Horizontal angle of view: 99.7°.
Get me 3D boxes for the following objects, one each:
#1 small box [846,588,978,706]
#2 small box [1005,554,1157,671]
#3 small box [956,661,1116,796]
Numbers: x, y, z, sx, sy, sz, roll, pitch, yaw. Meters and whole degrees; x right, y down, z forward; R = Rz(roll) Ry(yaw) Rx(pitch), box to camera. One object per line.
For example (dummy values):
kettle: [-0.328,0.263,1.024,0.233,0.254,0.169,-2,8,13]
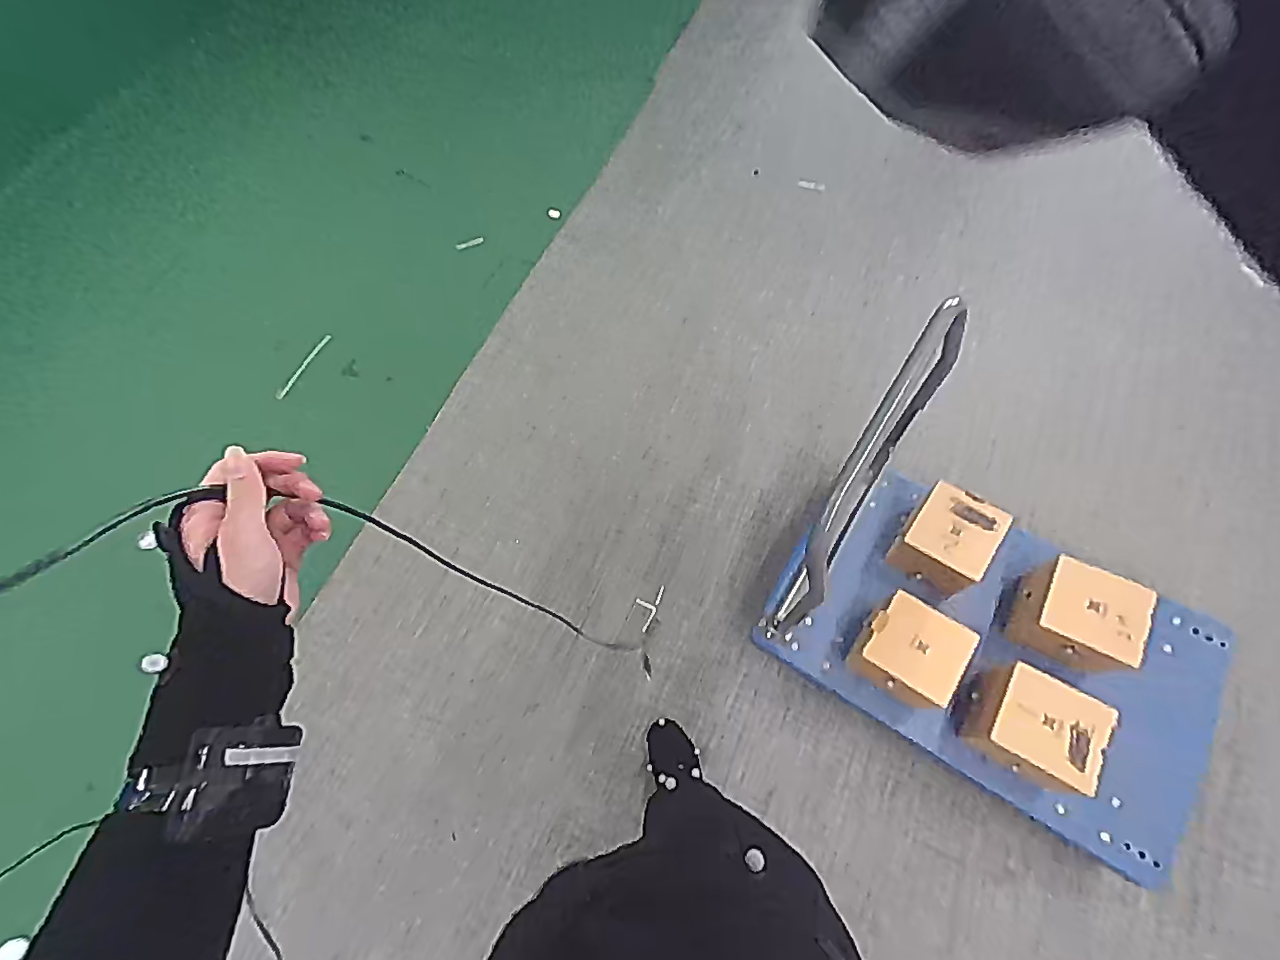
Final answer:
small box: [0.571,0.360,1.156,0.179,0.176,0.168,32,74,22]
small box: [0.911,0.284,1.135,0.179,0.176,0.168,26,73,19]
small box: [0.768,0.483,1.066,0.179,0.176,0.168,28,72,20]
